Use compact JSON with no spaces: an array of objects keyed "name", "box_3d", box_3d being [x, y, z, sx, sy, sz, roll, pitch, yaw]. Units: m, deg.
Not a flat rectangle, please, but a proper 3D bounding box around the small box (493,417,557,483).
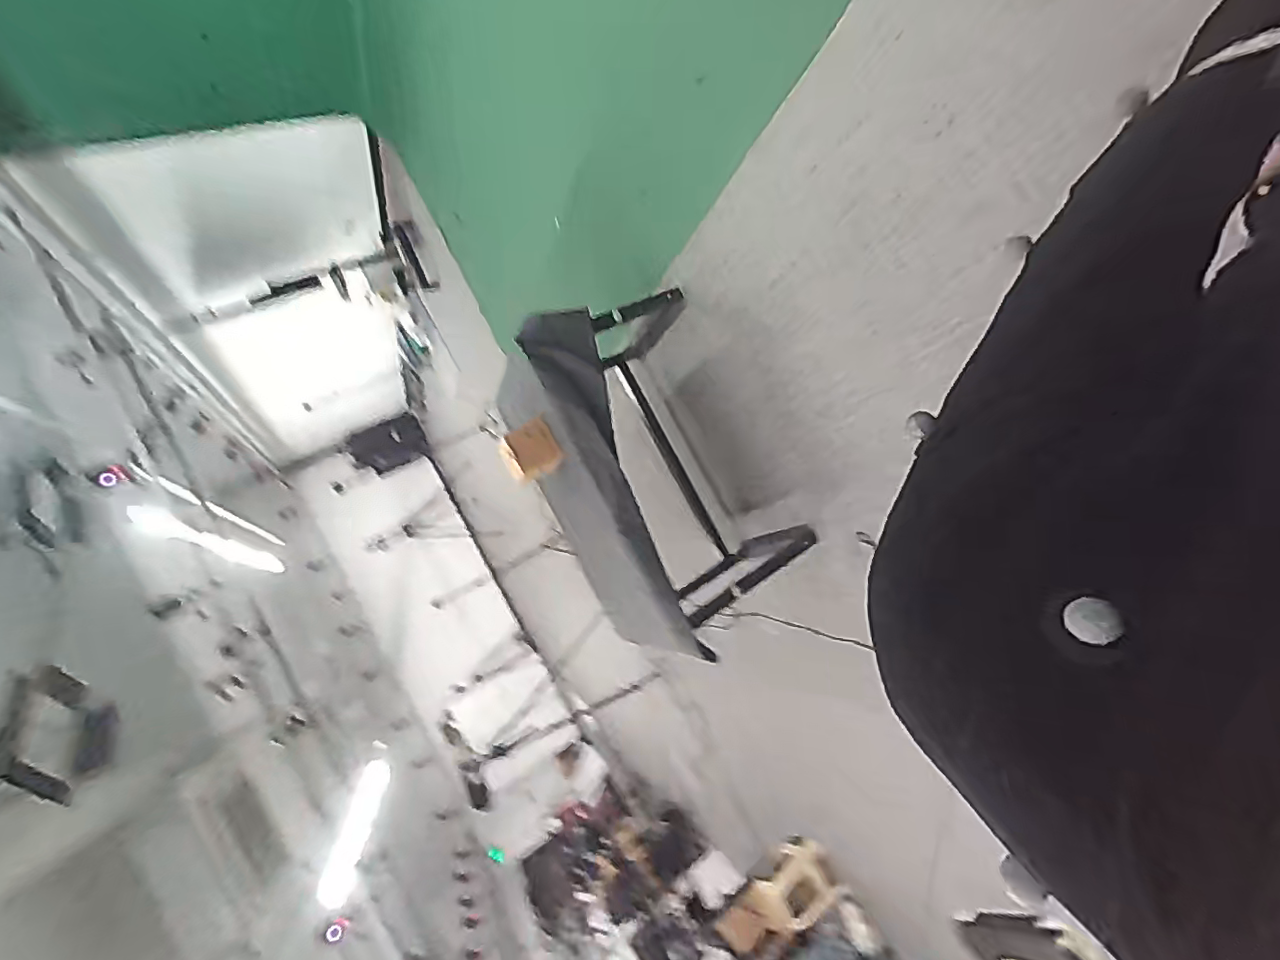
[{"name":"small box","box_3d":[-0.426,-0.113,2.009,0.168,0.176,0.179,61,156,5]}]
